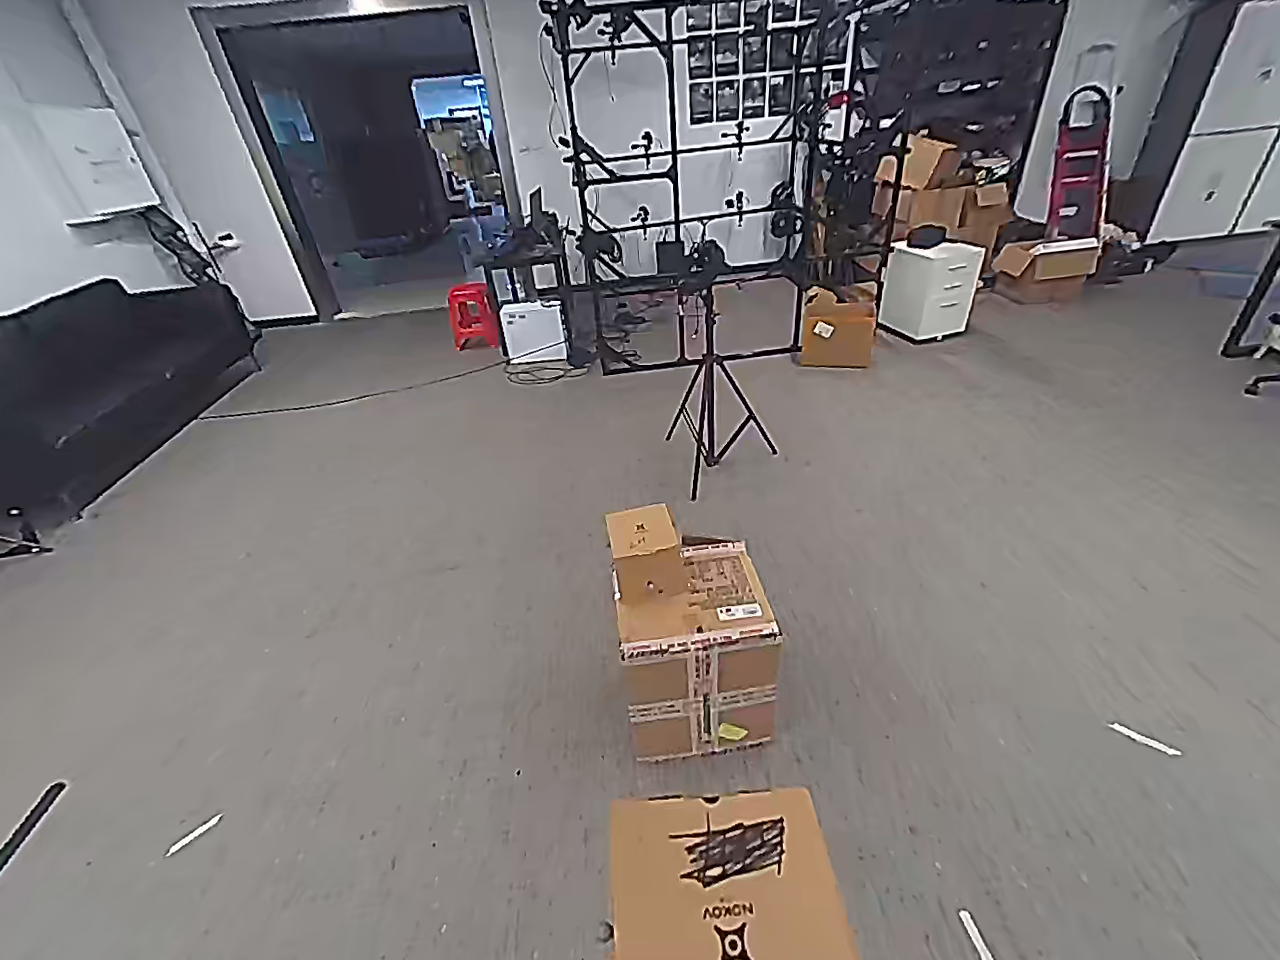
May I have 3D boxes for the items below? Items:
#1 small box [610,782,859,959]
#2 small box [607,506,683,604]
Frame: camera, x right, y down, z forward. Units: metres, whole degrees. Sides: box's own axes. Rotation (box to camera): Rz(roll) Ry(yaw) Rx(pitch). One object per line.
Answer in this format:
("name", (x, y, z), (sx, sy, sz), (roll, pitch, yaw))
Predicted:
("small box", (0.061, 0.370, 0.431), (0.168, 0.176, 0.179), (-1, 40, -5))
("small box", (0.012, 0.196, 1.418), (0.168, 0.176, 0.179), (-11, 37, -4))
